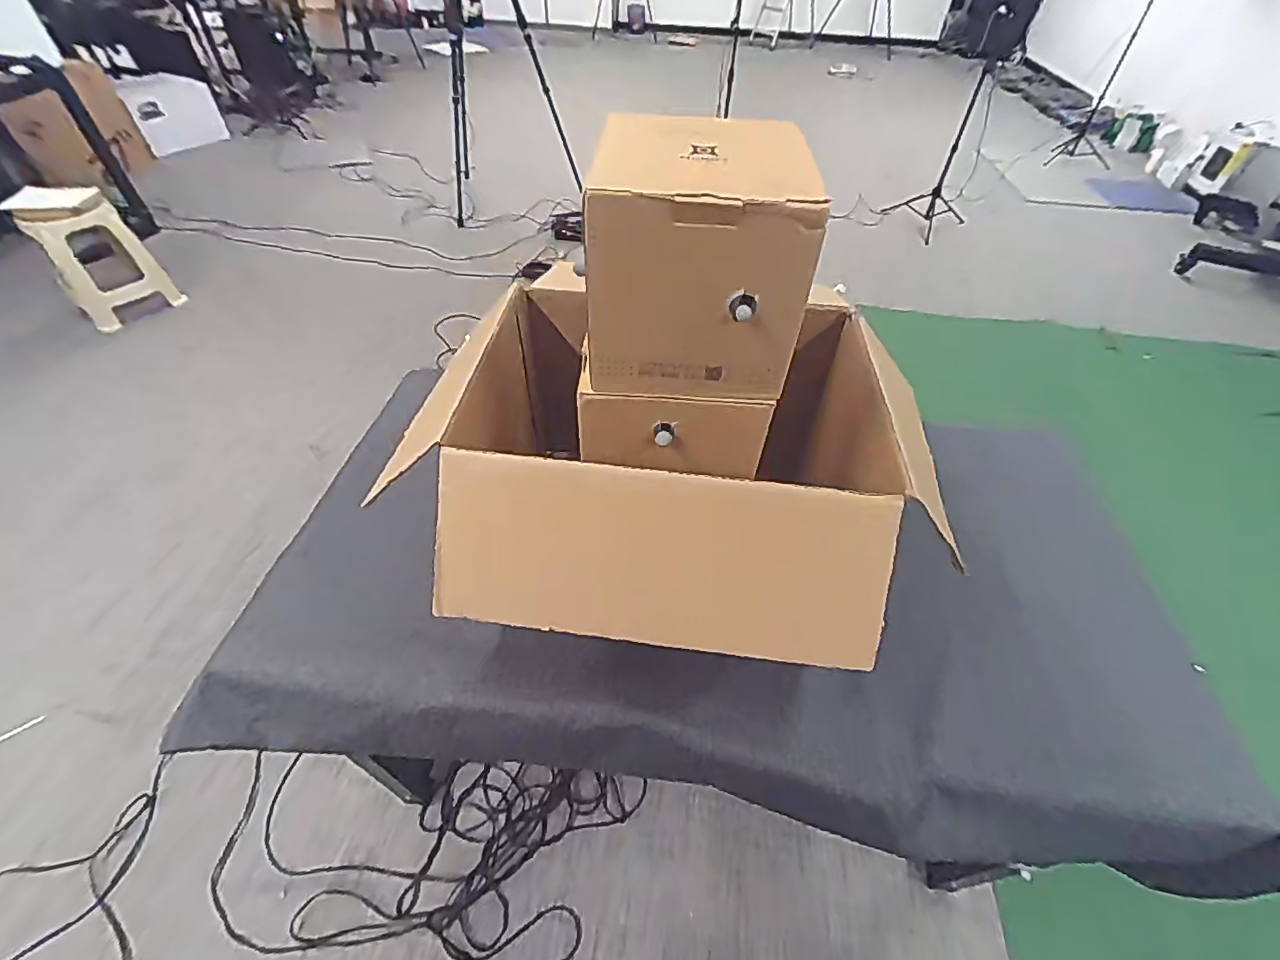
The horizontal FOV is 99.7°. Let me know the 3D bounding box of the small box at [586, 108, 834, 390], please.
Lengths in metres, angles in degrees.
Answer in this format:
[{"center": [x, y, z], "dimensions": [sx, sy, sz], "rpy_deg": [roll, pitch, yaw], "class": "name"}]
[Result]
[{"center": [0.047, -0.196, 0.466], "dimensions": [0.168, 0.176, 0.179], "rpy_deg": [4, 47, -1], "class": "small box"}]
